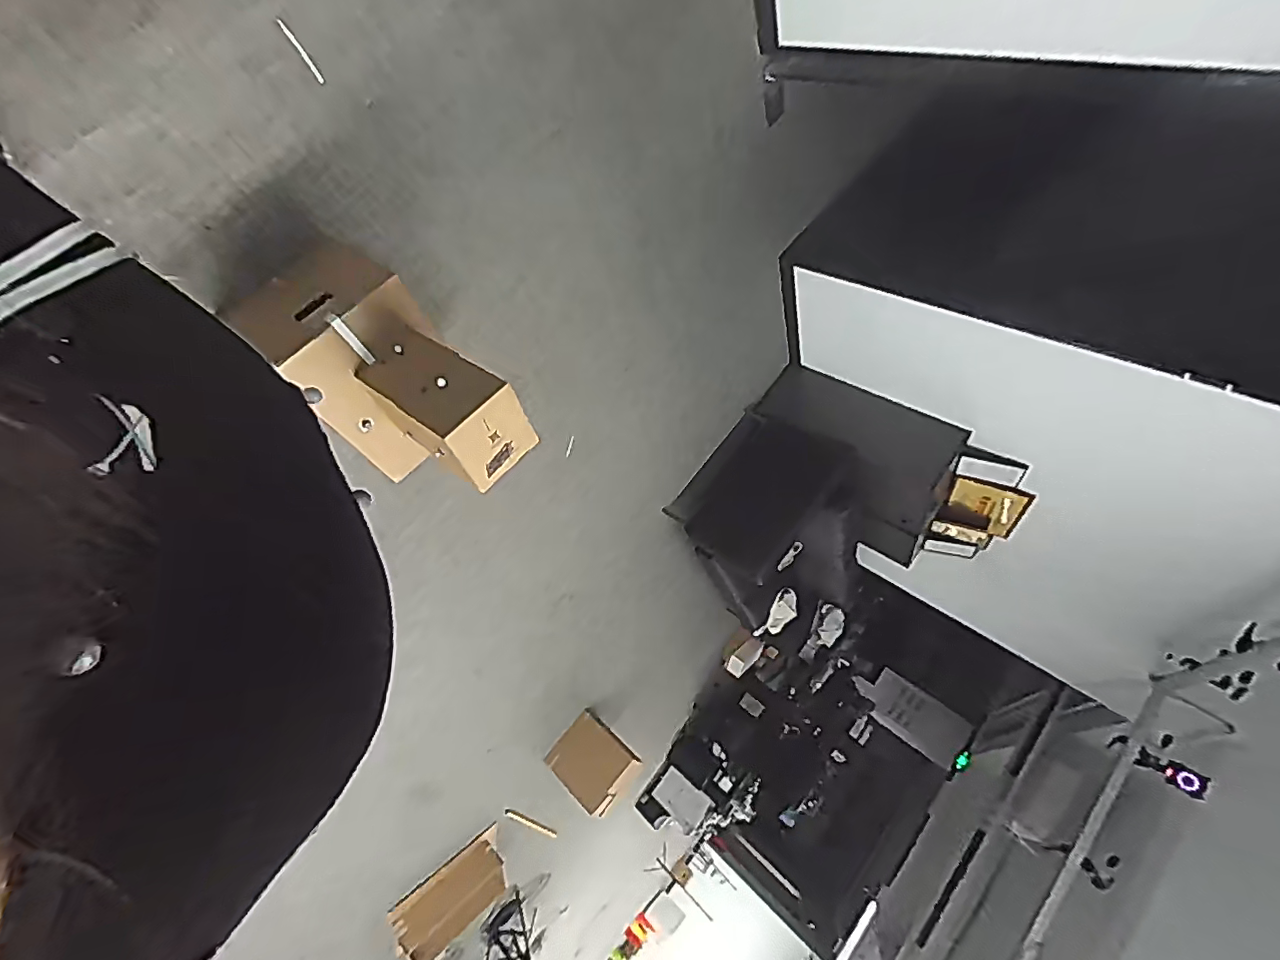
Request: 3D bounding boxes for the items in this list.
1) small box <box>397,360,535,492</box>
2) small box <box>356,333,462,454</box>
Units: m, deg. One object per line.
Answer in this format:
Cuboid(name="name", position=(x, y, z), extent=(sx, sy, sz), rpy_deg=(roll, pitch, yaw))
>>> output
Cuboid(name="small box", position=(-0.349, -0.113, 1.098), extent=(0.168, 0.176, 0.179), rpy_deg=(-48, 147, -22))
Cuboid(name="small box", position=(-0.471, -0.189, 1.179), extent=(0.168, 0.176, 0.179), rpy_deg=(-48, 148, -20))
